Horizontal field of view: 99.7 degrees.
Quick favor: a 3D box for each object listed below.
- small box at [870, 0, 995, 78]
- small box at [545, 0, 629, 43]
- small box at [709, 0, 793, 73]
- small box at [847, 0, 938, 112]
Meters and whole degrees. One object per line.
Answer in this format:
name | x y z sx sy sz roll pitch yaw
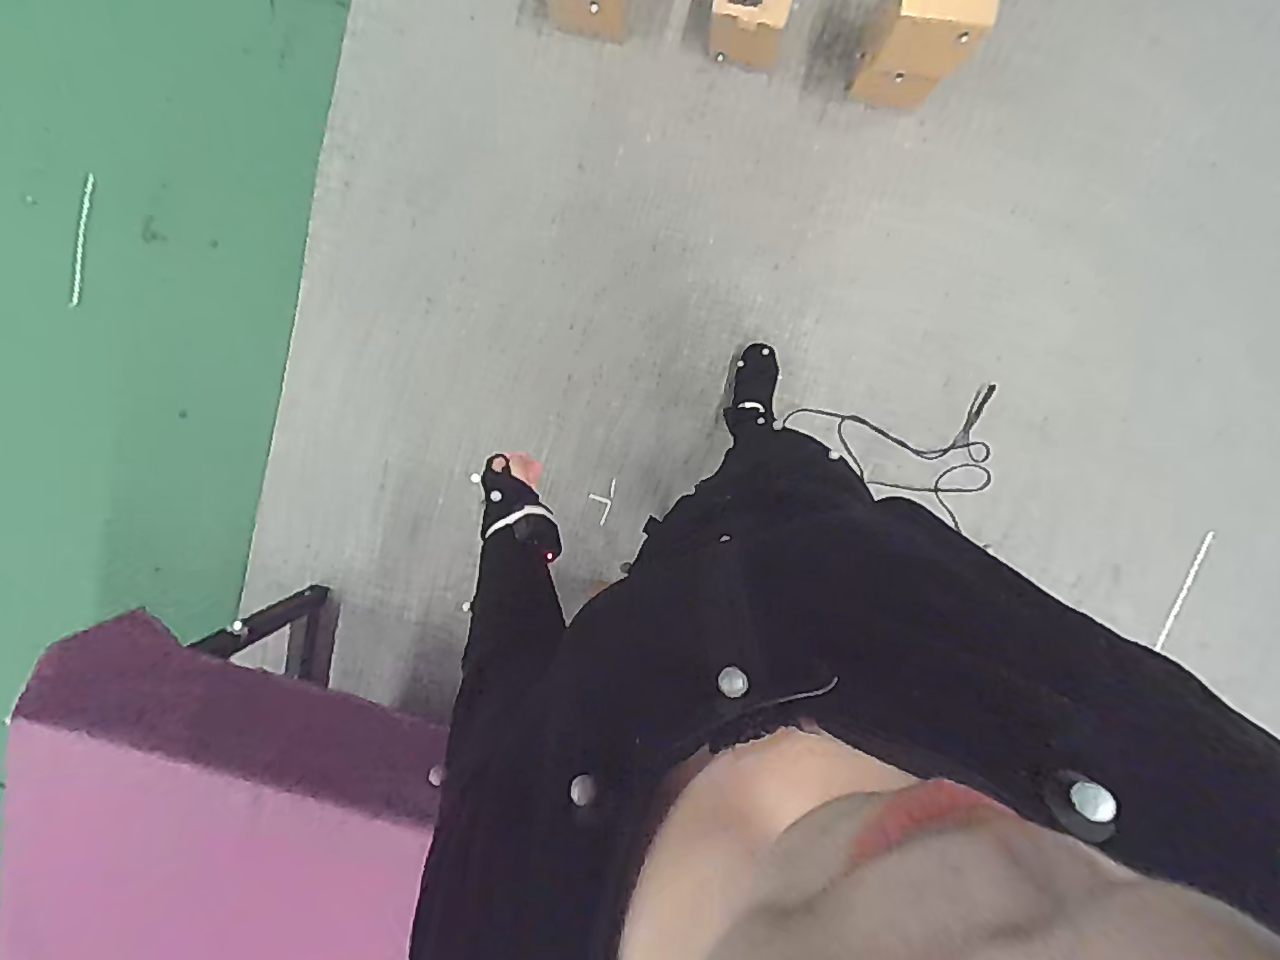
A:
small box | 0.582 -0.940 1.076 0.179 0.176 0.168 9 99 3
small box | -0.117 -1.177 1.267 0.179 0.176 0.168 15 98 2
small box | 0.261 -1.090 1.246 0.168 0.176 0.179 16 98 2
small box | 0.597 -0.979 1.234 0.179 0.176 0.168 14 100 2
